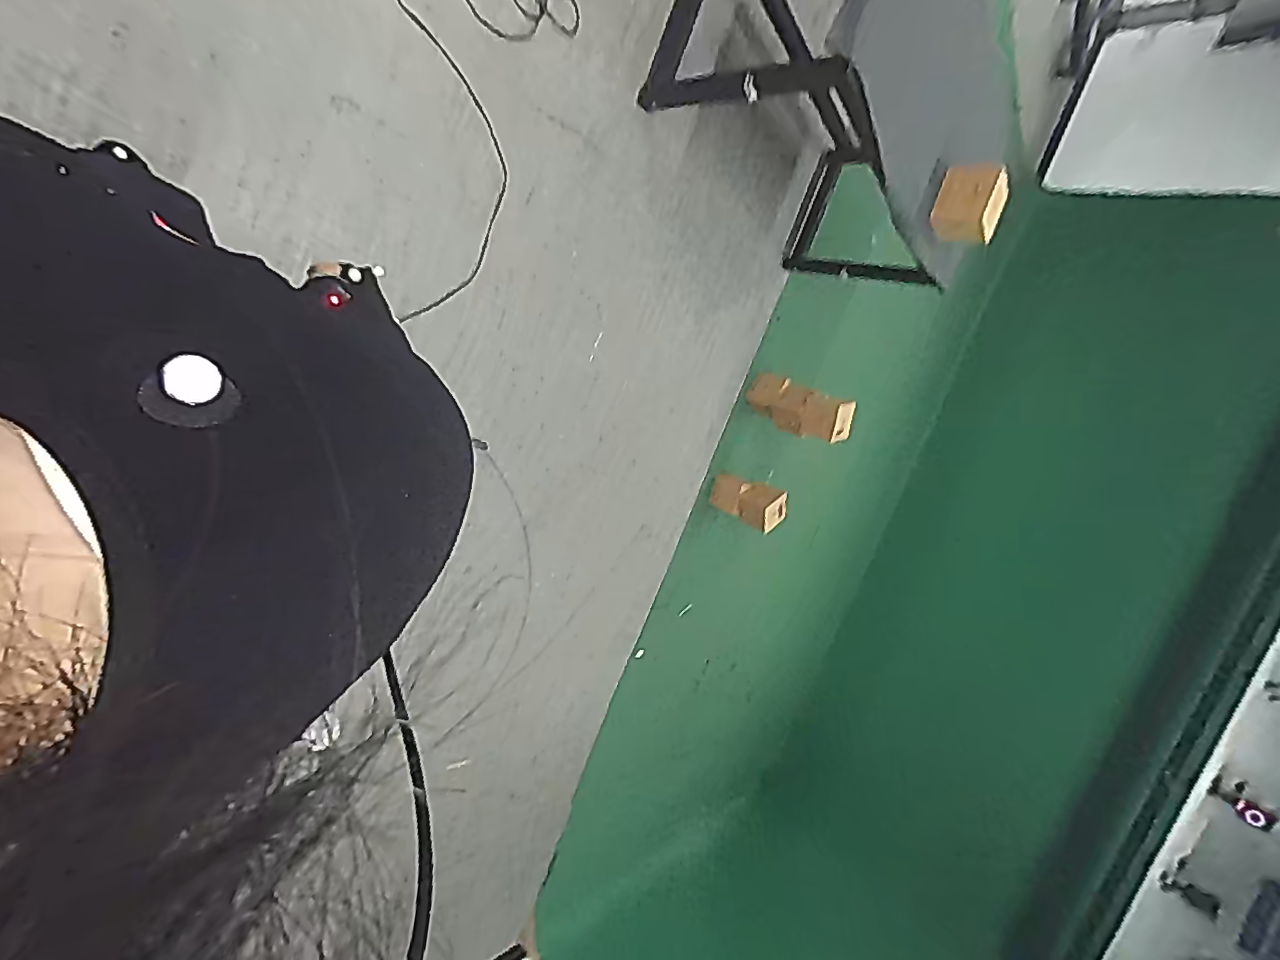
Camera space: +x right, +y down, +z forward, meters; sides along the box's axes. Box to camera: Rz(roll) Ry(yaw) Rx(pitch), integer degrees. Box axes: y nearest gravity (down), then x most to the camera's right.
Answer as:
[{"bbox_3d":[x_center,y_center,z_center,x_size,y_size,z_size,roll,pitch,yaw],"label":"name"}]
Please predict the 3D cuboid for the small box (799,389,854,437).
[{"bbox_3d":[0.878,-0.321,2.559,0.168,0.176,0.179,-16,121,-41],"label":"small box"}]

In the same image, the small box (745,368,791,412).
[{"bbox_3d":[0.664,-0.457,2.765,0.168,0.176,0.179,-57,141,-6],"label":"small box"}]

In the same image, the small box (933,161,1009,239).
[{"bbox_3d":[1.108,-0.940,1.819,0.168,0.176,0.179,15,98,-51],"label":"small box"}]

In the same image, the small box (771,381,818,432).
[{"bbox_3d":[0.760,-0.371,2.663,0.168,0.176,0.179,-42,138,-22],"label":"small box"}]

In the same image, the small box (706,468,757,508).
[{"bbox_3d":[0.478,0.040,2.842,0.179,0.176,0.168,1,110,-49],"label":"small box"}]
